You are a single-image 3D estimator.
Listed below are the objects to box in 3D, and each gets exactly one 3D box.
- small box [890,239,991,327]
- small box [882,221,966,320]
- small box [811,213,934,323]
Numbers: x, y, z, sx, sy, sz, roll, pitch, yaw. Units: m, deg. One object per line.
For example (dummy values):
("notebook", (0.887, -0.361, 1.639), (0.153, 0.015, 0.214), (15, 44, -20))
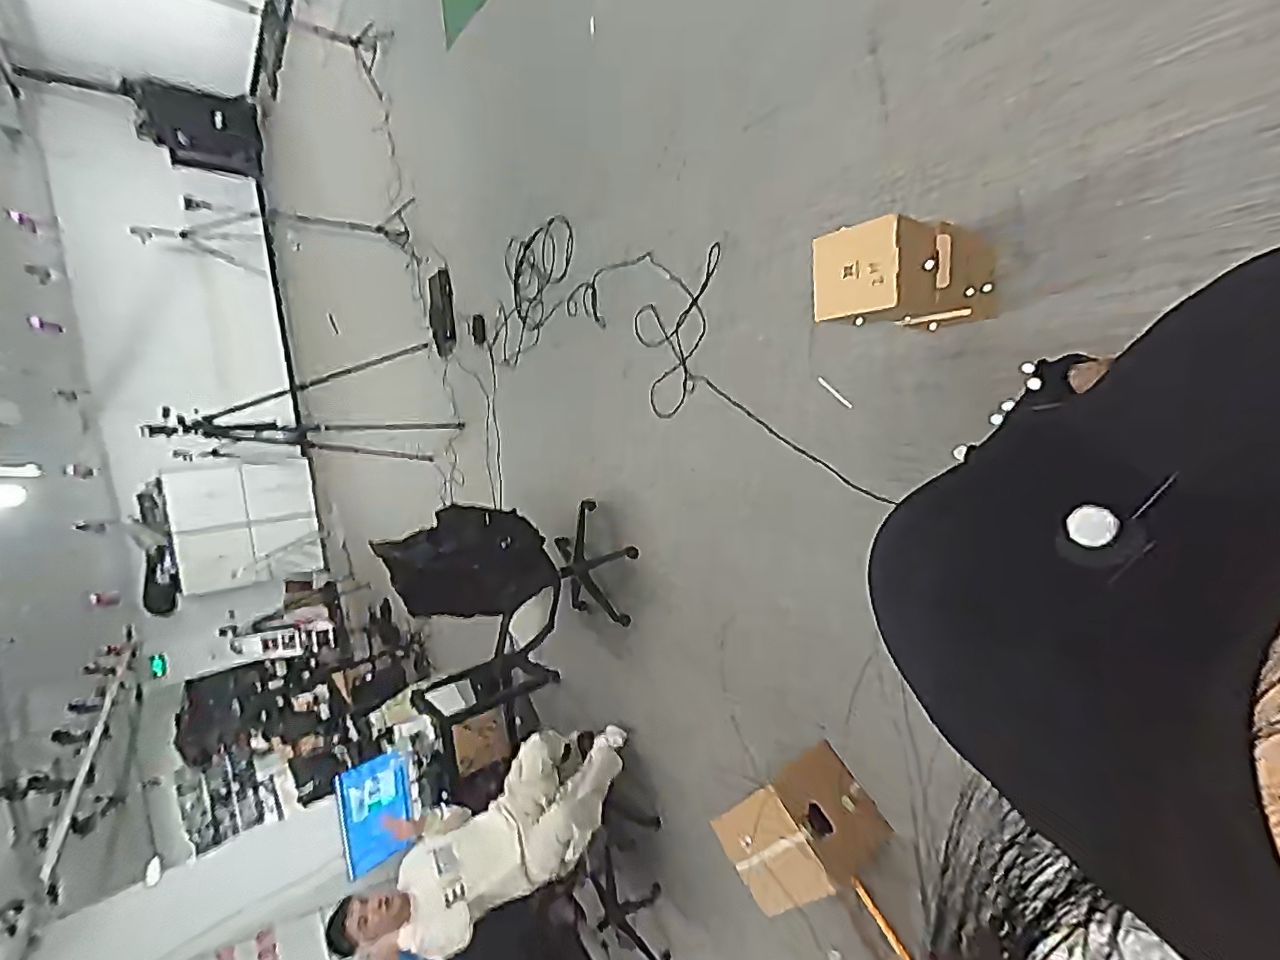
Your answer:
("small box", (0.724, -0.465, 1.301), (0.179, 0.176, 0.168), (4, 101, 50))
("small box", (0.598, -0.454, 1.196), (0.179, 0.176, 0.168), (6, 102, 51))
("small box", (0.470, -0.418, 1.097), (0.179, 0.176, 0.168), (5, 102, 50))
